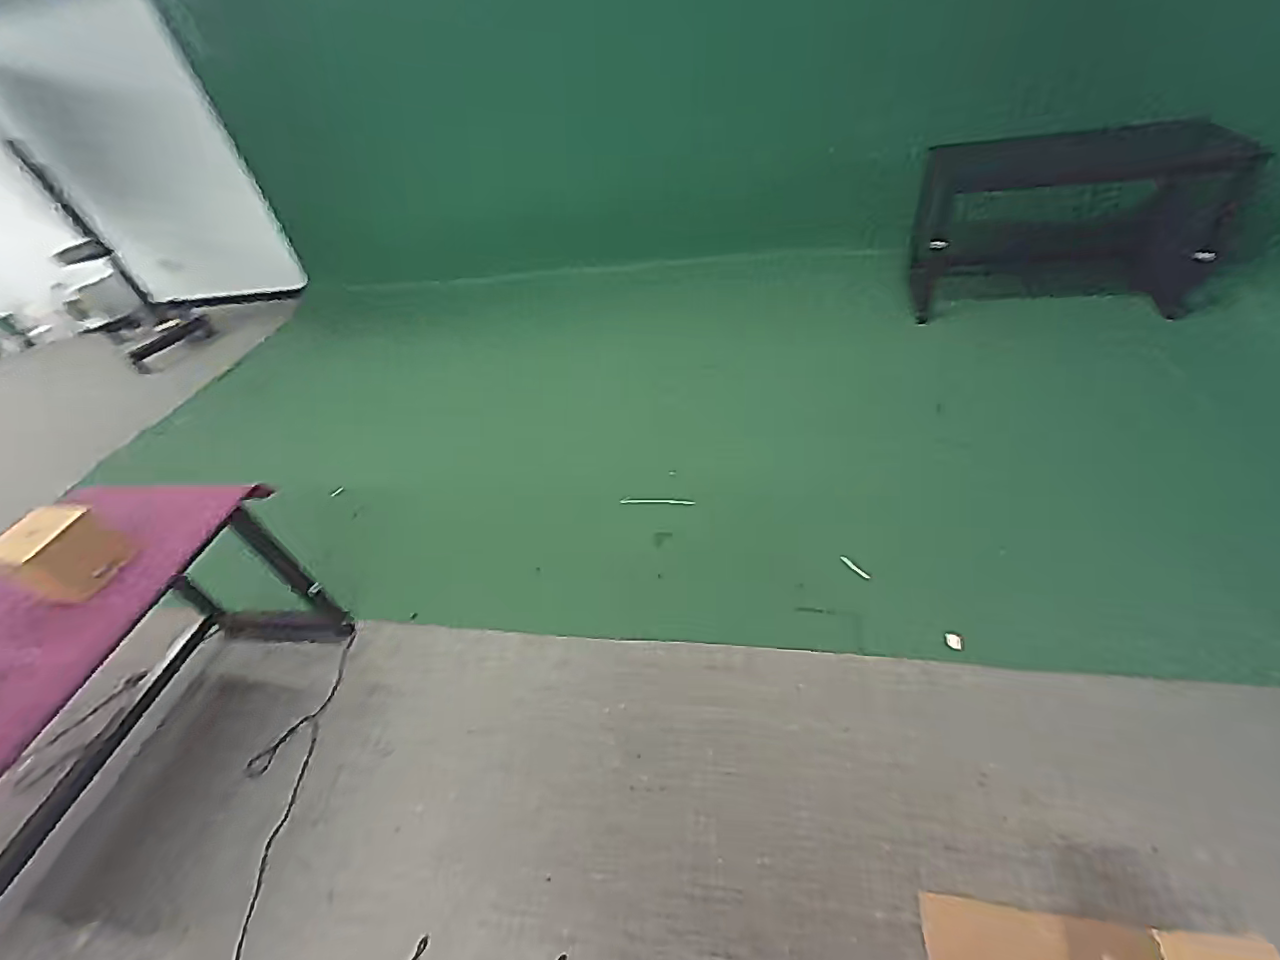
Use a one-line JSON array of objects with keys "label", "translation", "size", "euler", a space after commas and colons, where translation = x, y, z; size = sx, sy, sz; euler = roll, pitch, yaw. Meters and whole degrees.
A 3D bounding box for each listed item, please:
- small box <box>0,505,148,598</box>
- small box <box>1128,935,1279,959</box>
[{"label": "small box", "translation": [-1.413, 0.180, 1.349], "size": [0.179, 0.176, 0.168], "euler": [0, 46, 15]}, {"label": "small box", "translation": [0.961, 0.872, 0.888], "size": [0.179, 0.176, 0.168], "euler": [-3, 45, 9]}]
